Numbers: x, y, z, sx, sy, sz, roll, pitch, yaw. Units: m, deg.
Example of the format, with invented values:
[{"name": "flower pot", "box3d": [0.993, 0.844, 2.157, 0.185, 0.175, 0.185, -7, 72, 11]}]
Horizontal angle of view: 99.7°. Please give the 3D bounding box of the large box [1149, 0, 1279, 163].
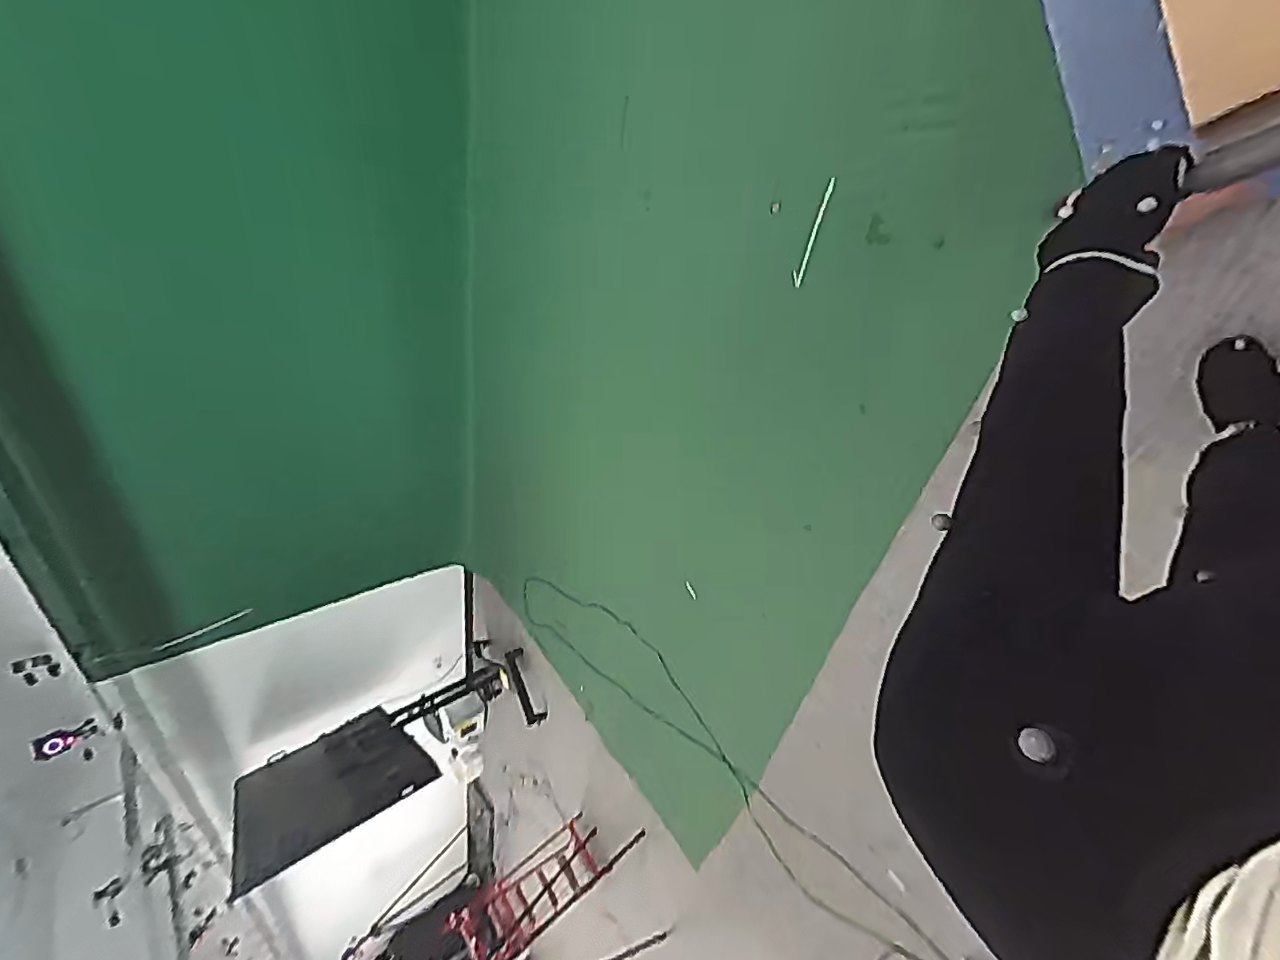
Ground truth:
[{"name": "large box", "box3d": [0.930, -0.733, 0.738, 0.320, 0.320, 0.408, -14, 92, 51]}]
